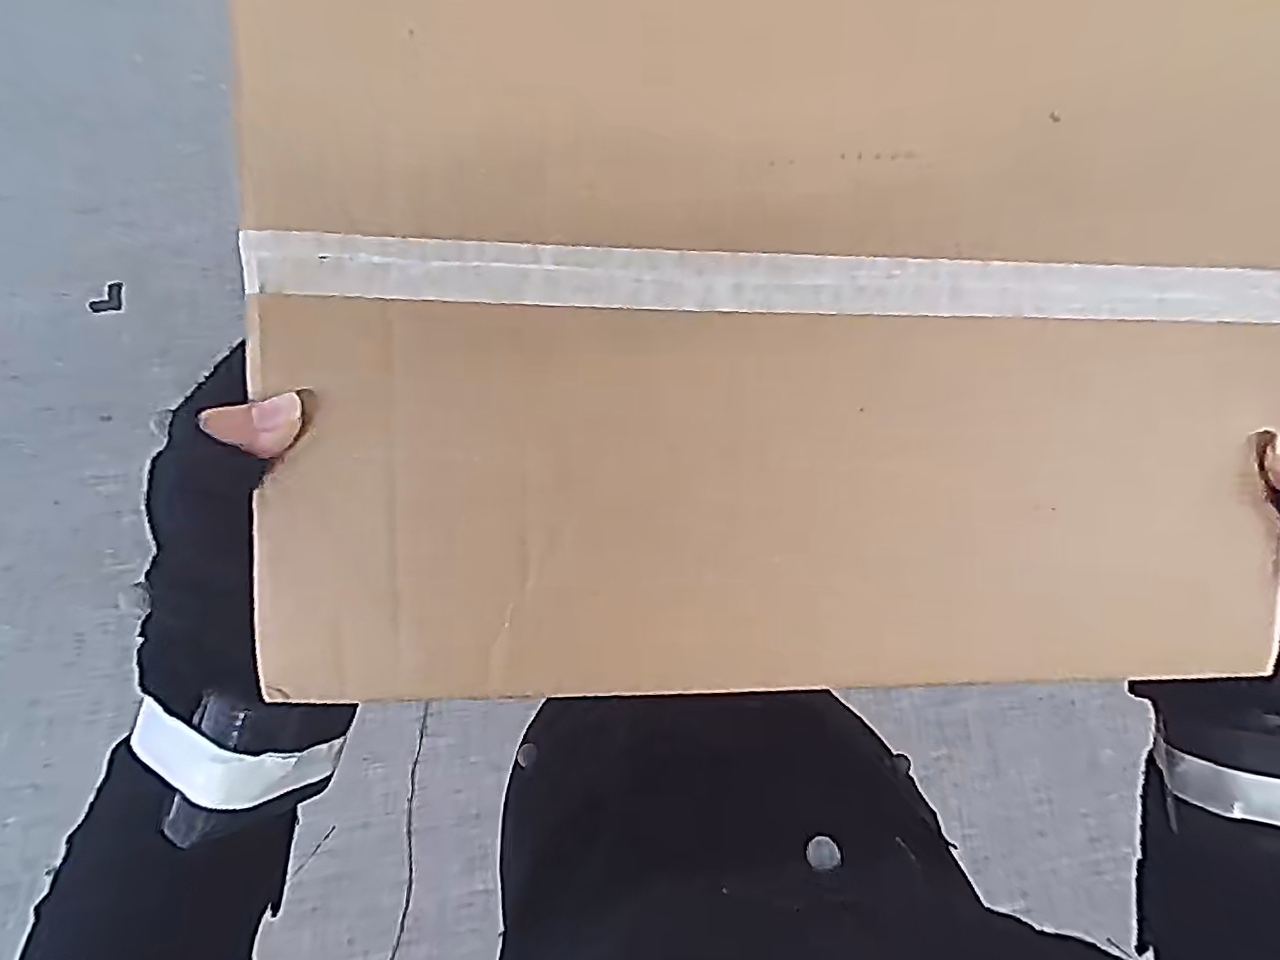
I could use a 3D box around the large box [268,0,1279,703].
[{"bbox_3d":[0.054,-0.079,0.363,0.408,0.320,0.320,0,93,-5],"label":"large box"}]
